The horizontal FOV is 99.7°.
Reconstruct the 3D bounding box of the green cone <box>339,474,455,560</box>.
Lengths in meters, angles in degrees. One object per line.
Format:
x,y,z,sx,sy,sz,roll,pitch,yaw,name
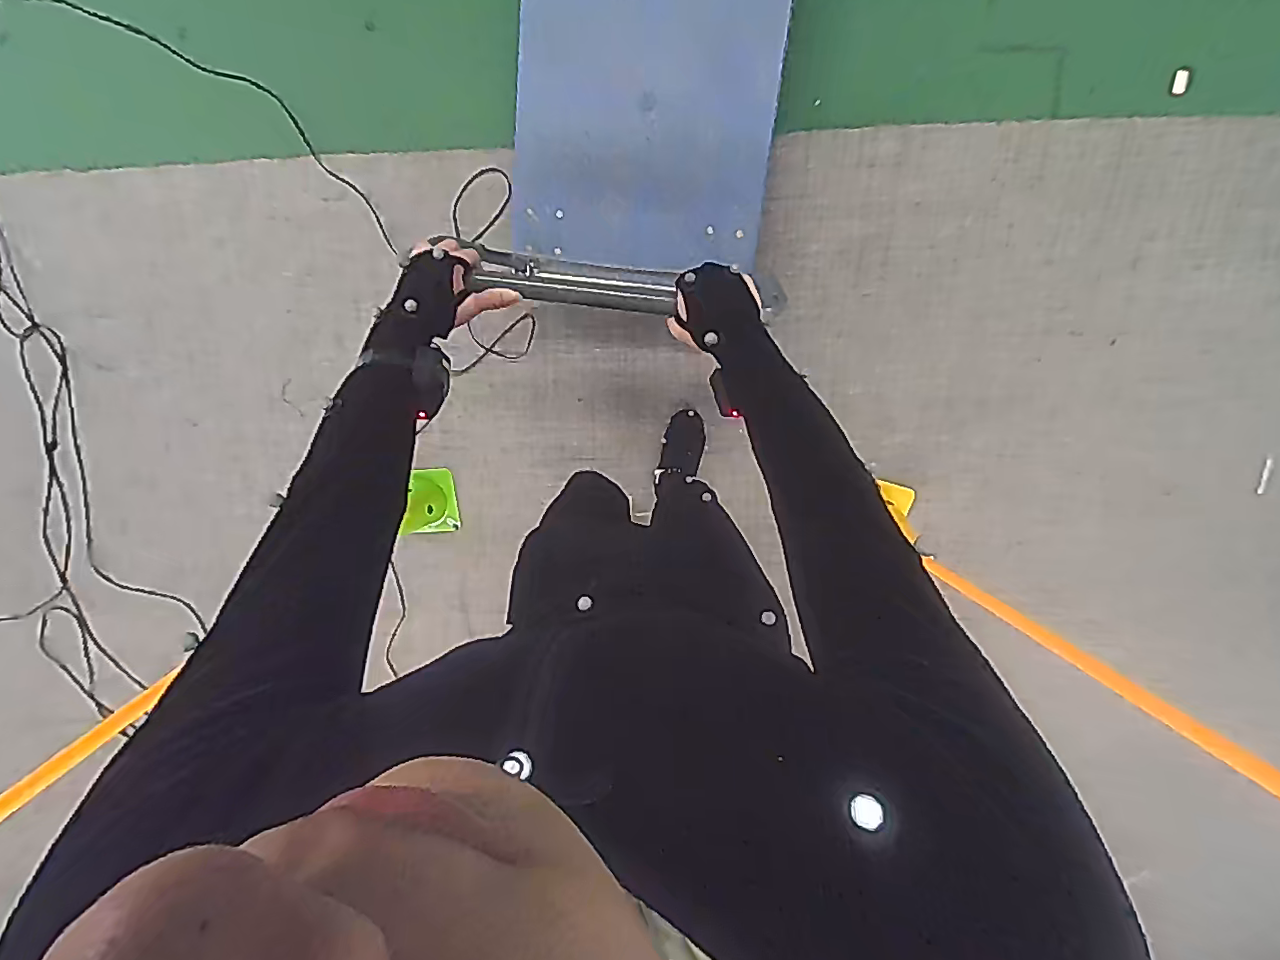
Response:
-0.682,0.125,1.467,0.202,0.368,0.200,-4,104,6,green cone
